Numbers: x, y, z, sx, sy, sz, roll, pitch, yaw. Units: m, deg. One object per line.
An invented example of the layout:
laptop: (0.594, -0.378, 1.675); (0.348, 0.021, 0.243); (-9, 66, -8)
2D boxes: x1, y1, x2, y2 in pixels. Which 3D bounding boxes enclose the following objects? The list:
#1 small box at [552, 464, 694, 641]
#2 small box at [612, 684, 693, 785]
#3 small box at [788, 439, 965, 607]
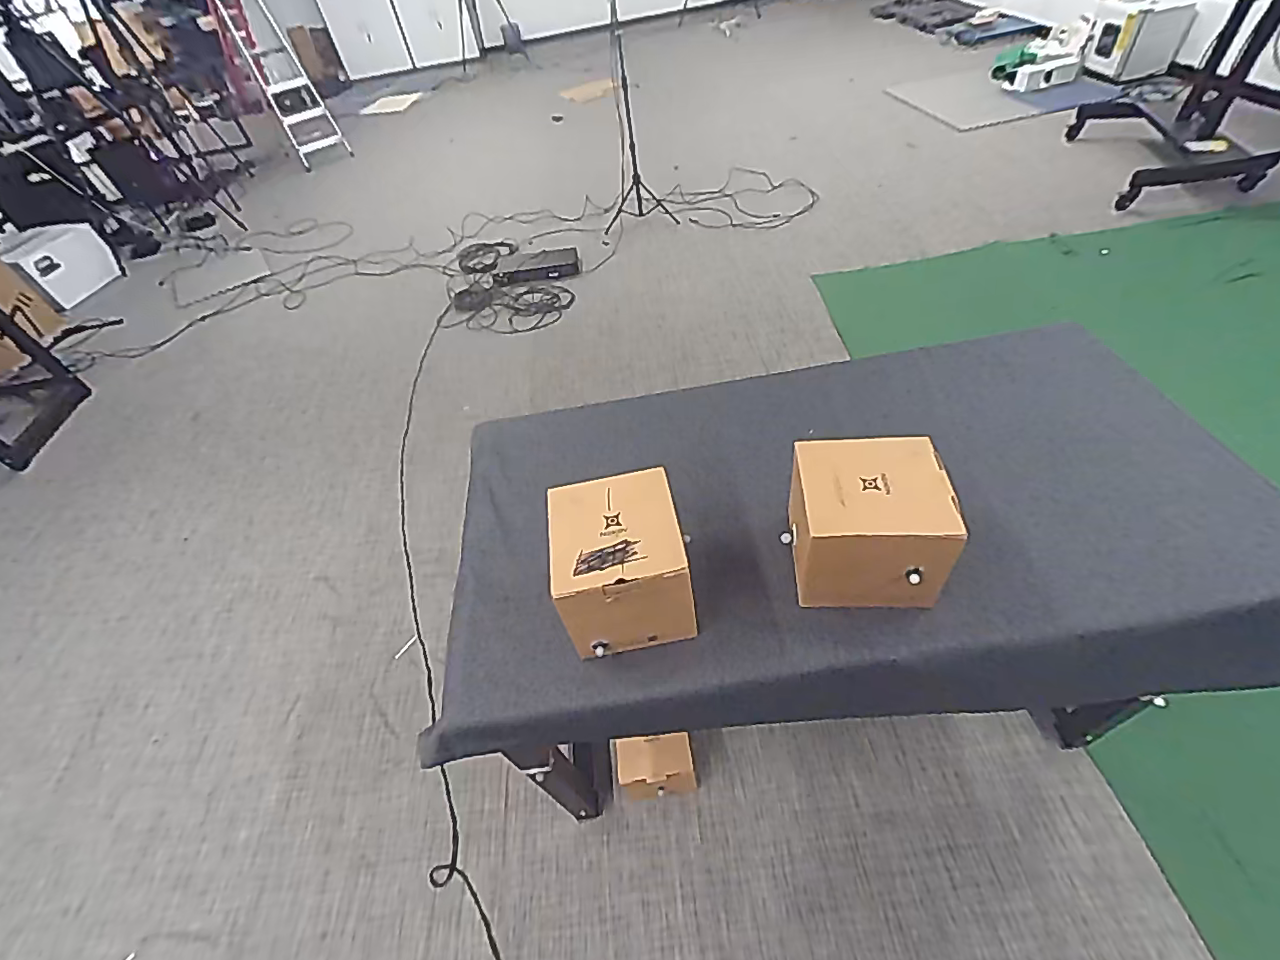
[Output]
small box: (-0.022, 0.107, 0.751); (0.168, 0.176, 0.179); (-10, 47, 0)
small box: (0.031, 0.609, 1.283); (0.168, 0.176, 0.179); (-9, 49, 2)
small box: (0.305, 0.062, 0.742); (0.179, 0.176, 0.168); (-2, 48, 9)
